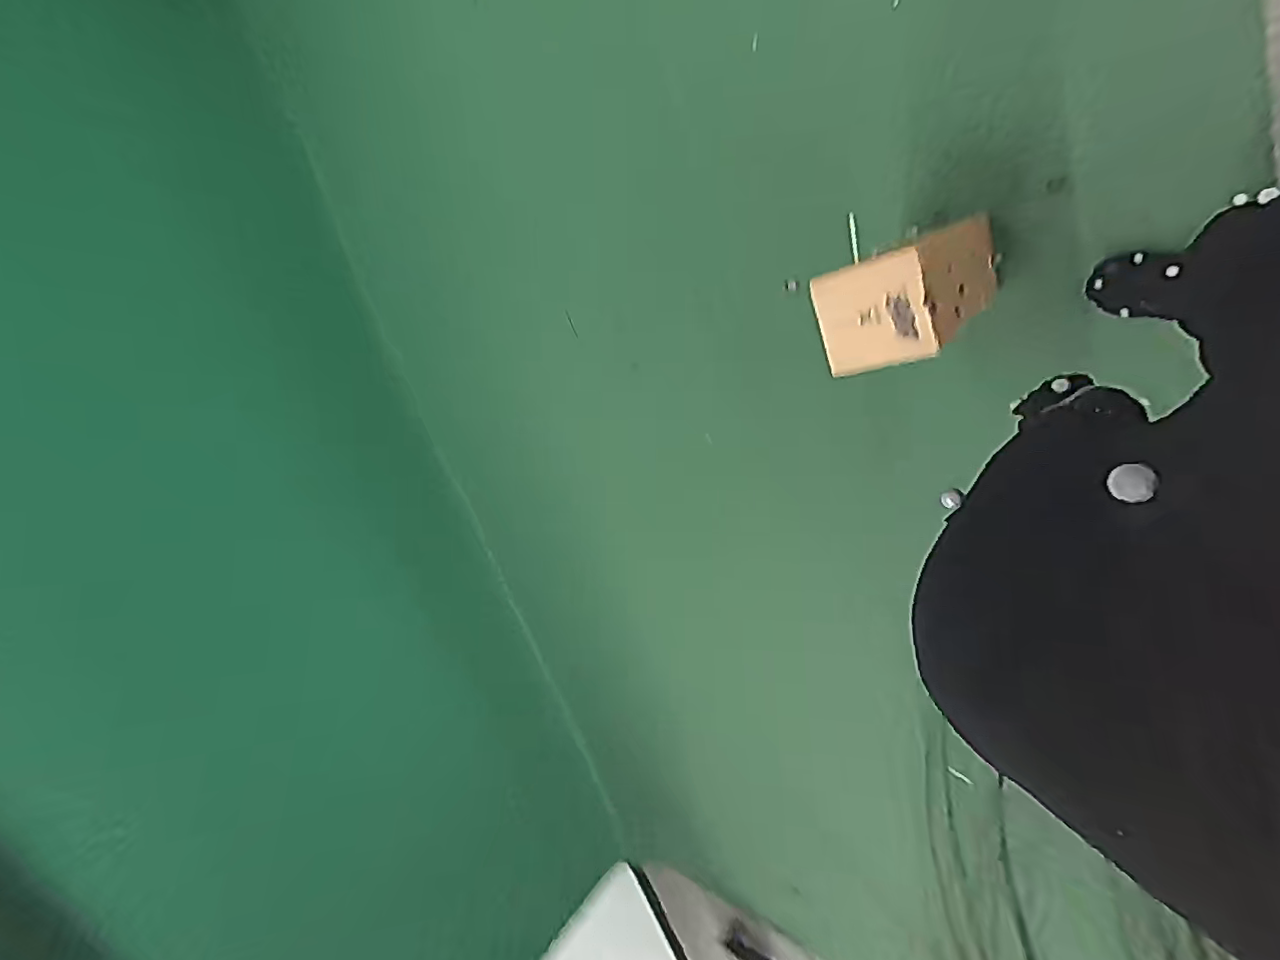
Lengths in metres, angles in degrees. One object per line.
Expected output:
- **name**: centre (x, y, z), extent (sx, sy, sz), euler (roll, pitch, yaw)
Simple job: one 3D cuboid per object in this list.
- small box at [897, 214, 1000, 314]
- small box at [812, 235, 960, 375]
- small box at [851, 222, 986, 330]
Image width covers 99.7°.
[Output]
- **small box**: centre (0.624, -0.432, 1.125), extent (0.179, 0.176, 0.168), euler (-3, 116, 44)
- **small box**: centre (0.428, -0.299, 0.925), extent (0.179, 0.176, 0.168), euler (-5, 113, 46)
- **small box**: centre (0.532, -0.371, 1.031), extent (0.179, 0.176, 0.168), euler (-3, 115, 46)
